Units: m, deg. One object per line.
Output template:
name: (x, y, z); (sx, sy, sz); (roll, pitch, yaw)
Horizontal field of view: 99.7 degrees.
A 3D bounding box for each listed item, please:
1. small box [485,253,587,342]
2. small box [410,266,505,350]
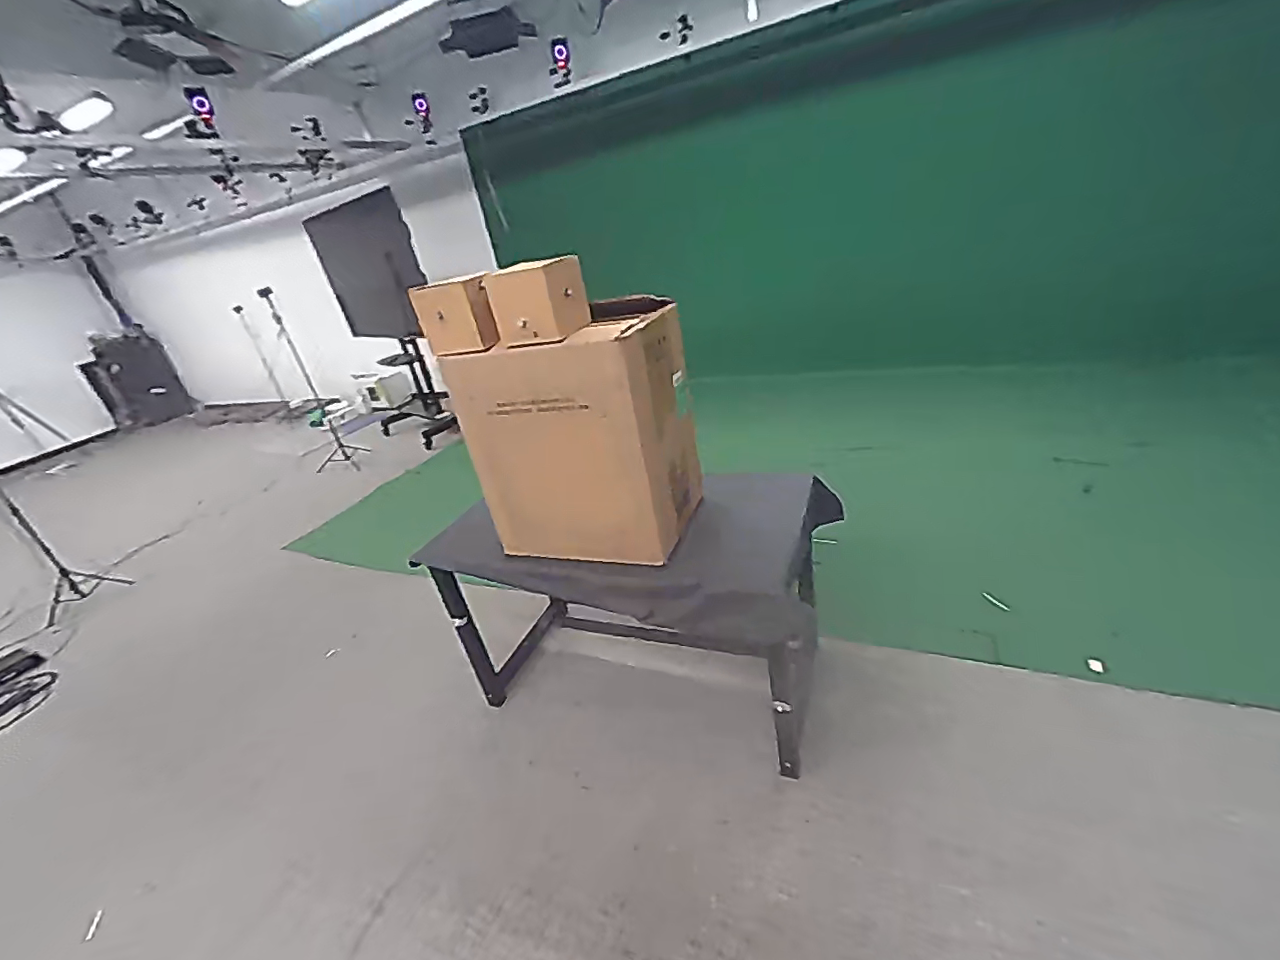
small box: (-0.241, -0.441, 1.311); (0.168, 0.176, 0.179); (2, 31, 24)
small box: (-0.446, -0.440, 1.393); (0.179, 0.176, 0.168); (1, 30, 25)
